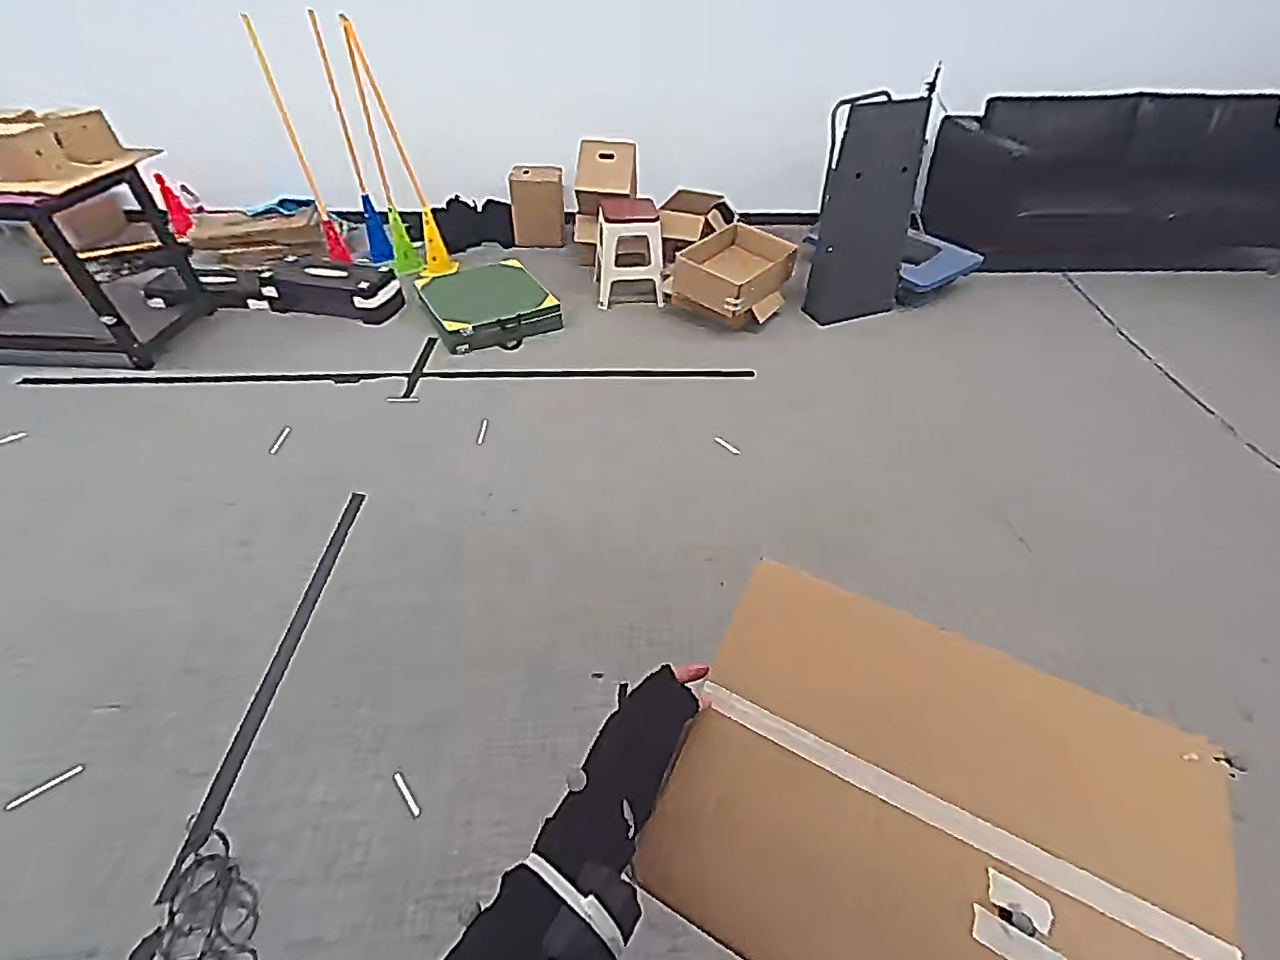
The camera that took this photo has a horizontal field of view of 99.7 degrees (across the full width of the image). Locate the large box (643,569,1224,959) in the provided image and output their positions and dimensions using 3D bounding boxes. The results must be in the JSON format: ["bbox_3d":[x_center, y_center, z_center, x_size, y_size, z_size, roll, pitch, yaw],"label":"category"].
[{"bbox_3d":[0.251,0.360,0.571,0.408,0.320,0.320,22,59,19],"label":"large box"}]
